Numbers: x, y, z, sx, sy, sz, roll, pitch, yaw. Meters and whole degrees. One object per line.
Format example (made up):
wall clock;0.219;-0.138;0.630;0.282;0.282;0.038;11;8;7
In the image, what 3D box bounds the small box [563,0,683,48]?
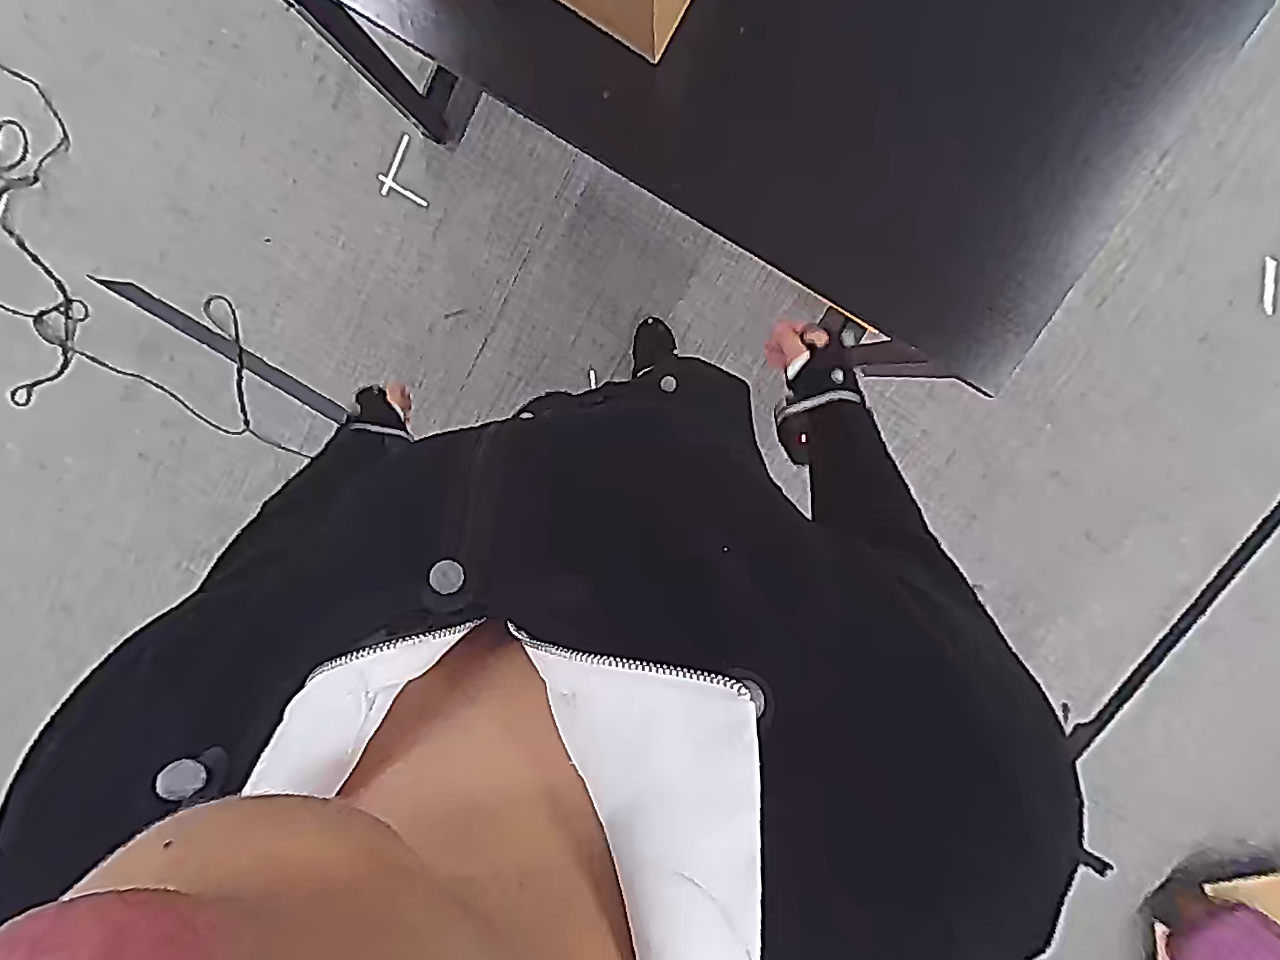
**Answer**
small box;-0.016;-0.580;0.530;0.179;0.176;0.168;31;100;-4
